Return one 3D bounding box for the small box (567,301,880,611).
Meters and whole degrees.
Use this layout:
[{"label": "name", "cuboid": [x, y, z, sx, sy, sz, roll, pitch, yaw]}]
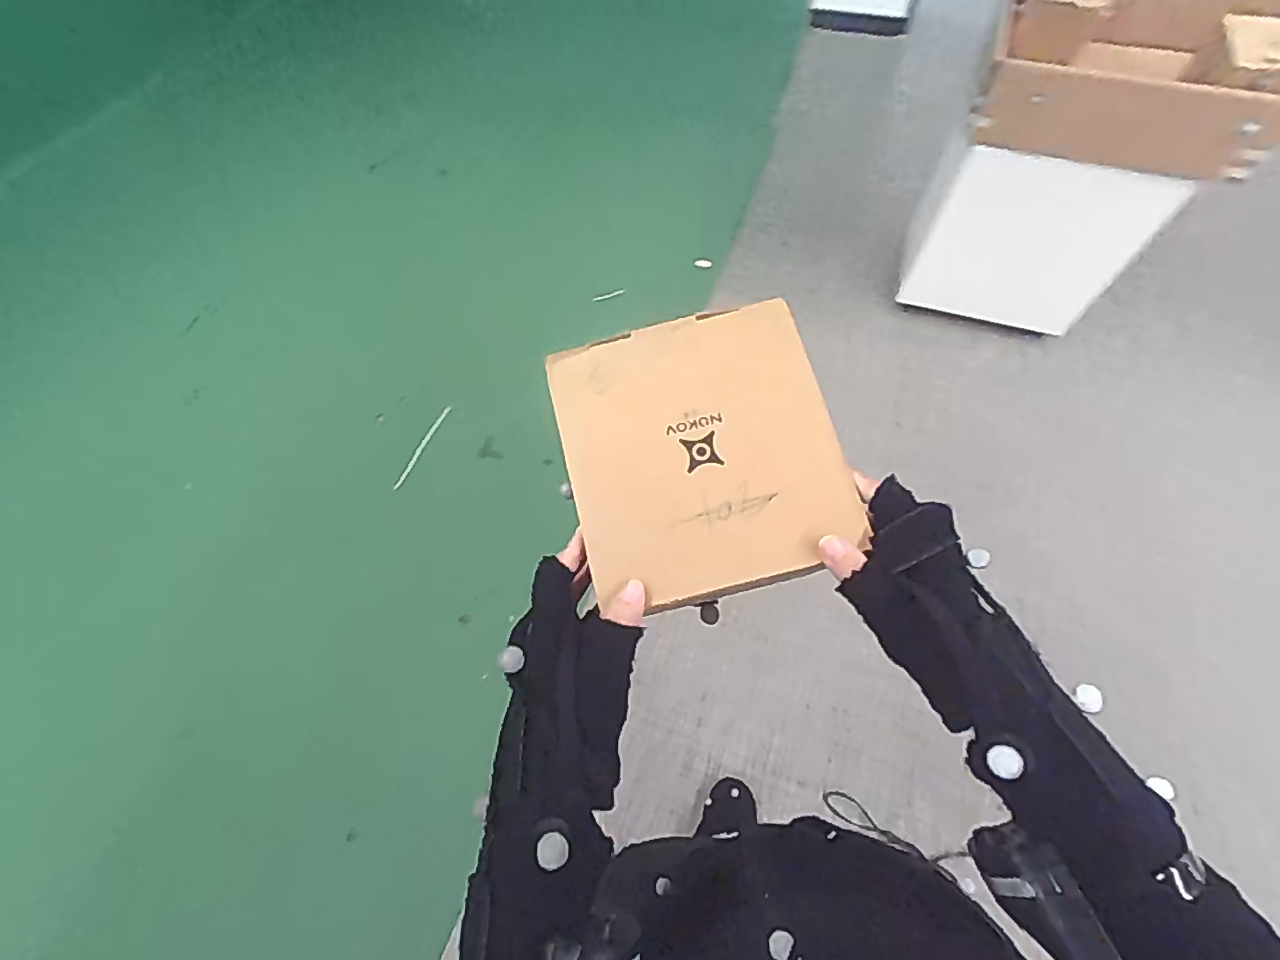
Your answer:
[{"label": "small box", "cuboid": [0.049, -0.003, 0.417, 0.168, 0.176, 0.179, -13, 75, 0]}]
